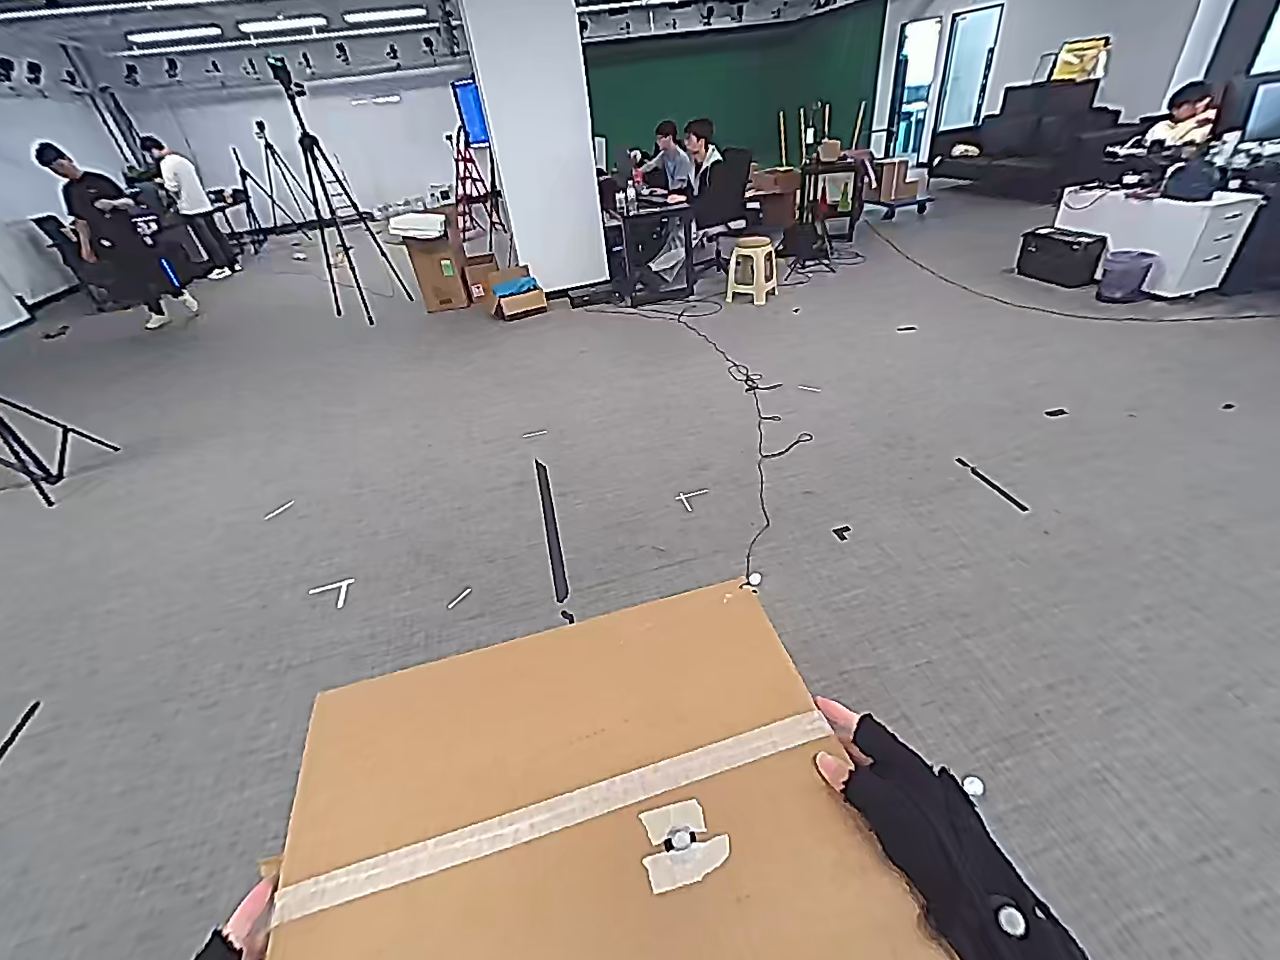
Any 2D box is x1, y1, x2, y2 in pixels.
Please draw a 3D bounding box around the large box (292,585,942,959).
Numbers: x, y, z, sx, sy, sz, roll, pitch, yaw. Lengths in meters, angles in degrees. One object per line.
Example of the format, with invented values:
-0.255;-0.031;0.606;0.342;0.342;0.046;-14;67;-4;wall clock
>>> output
-0.035;0.358;0.501;0.408;0.320;0.320;-13;42;-10;large box
